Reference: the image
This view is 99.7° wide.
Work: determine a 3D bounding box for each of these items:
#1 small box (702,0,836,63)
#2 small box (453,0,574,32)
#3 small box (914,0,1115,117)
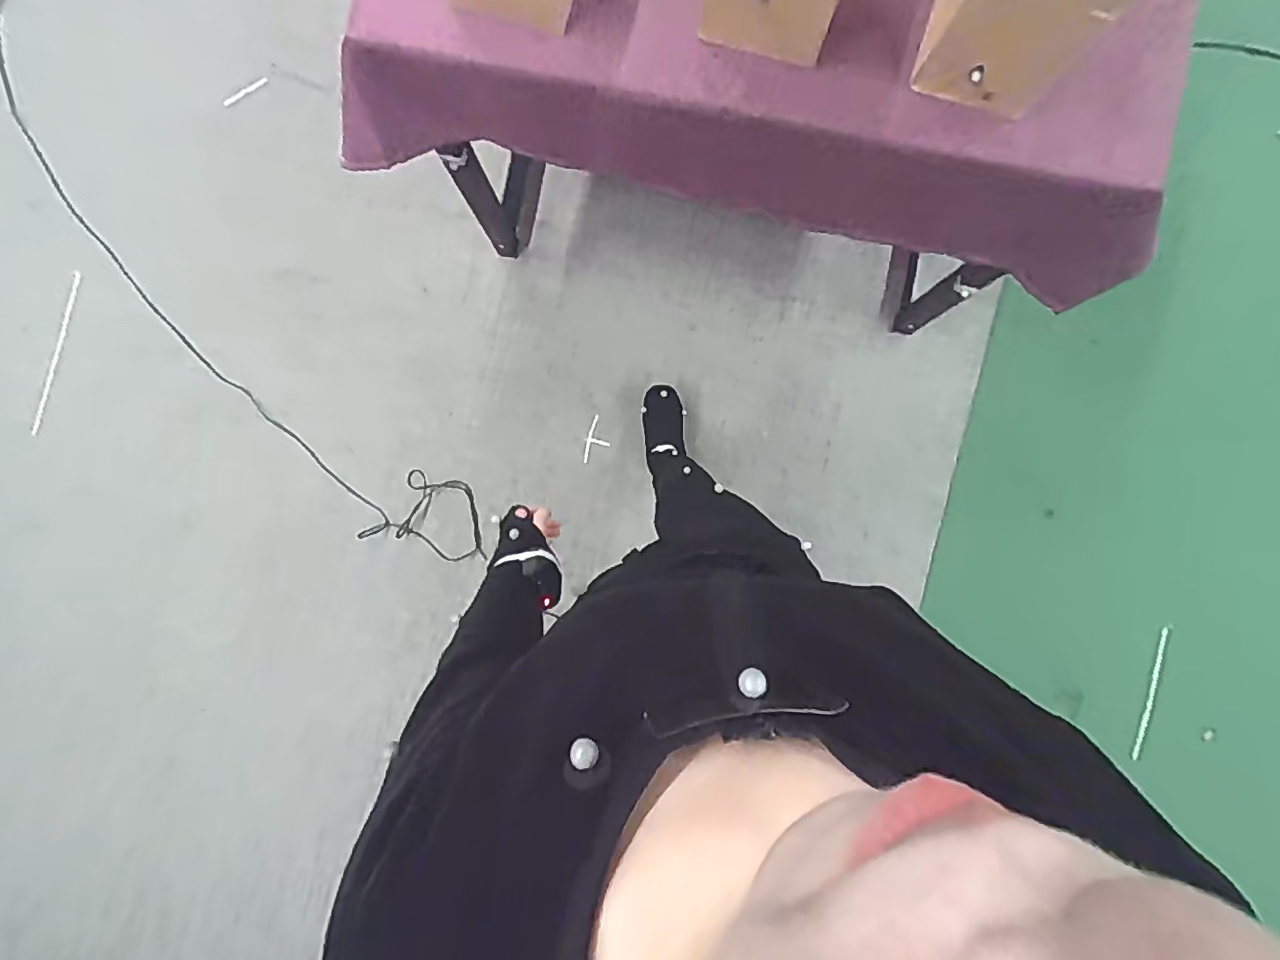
[{"bbox_3d":[0.187,-0.701,0.712,0.179,0.176,0.168,16,88,2],"label":"small box"},{"bbox_3d":[-0.175,-0.753,0.718,0.179,0.176,0.168,15,88,0],"label":"small box"},{"bbox_3d":[0.491,-0.631,0.707,0.168,0.176,0.179,17,88,2],"label":"small box"}]
